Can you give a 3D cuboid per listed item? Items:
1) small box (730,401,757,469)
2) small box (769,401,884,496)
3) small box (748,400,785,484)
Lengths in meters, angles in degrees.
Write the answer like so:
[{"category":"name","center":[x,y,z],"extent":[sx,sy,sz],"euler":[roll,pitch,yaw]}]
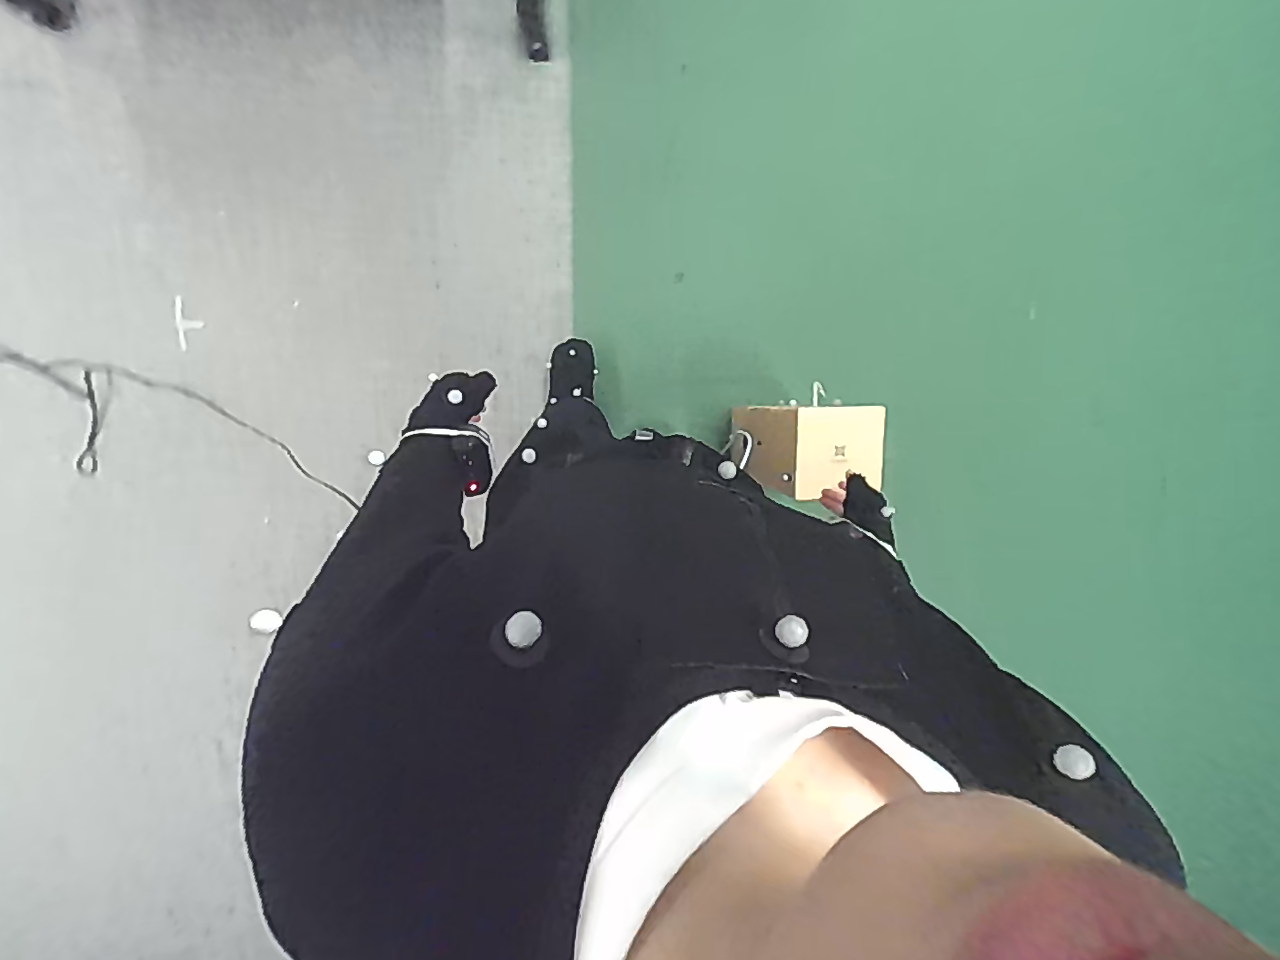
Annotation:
[{"category":"small box","center":[0.339,-0.119,1.393],"extent":[0.179,0.176,0.168],"euler":[0,98,-3]},{"category":"small box","center":[0.360,-0.068,1.070],"extent":[0.168,0.176,0.179],"euler":[-1,99,-3]},{"category":"small box","center":[0.351,-0.088,1.229],"extent":[0.168,0.176,0.179],"euler":[2,99,-5]}]
